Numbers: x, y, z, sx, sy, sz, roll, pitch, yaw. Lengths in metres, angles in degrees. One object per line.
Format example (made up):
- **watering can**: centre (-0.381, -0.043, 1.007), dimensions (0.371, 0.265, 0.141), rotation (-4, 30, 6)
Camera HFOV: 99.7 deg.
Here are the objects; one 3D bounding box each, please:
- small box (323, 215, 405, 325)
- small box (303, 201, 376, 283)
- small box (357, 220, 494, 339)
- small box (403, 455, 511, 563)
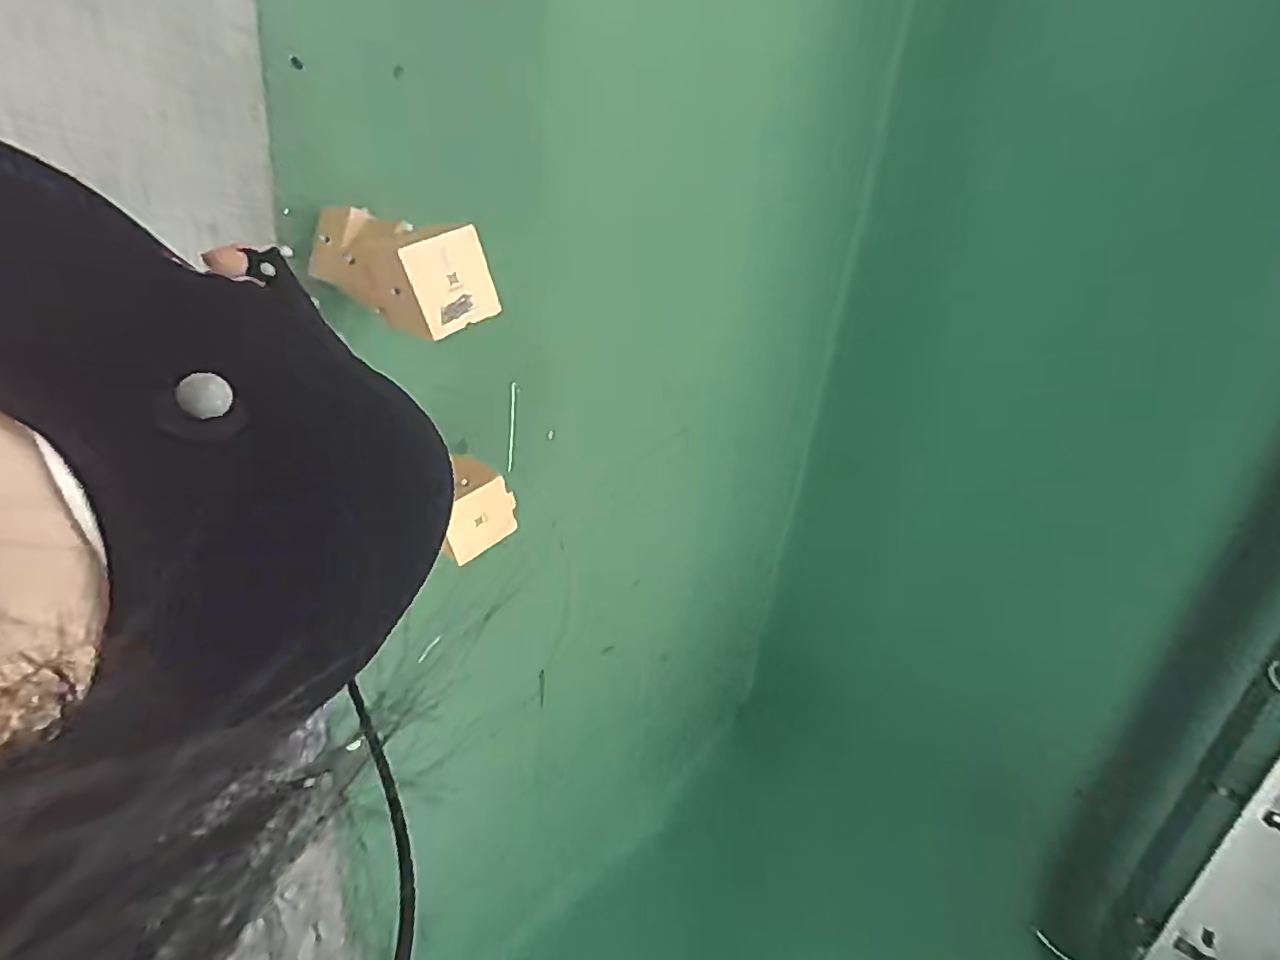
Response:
- **small box**: centre (-0.550, -0.451, 1.184), dimensions (0.168, 0.176, 0.179), rotation (-58, 143, -9)
- **small box**: centre (-0.661, -0.534, 1.274), dimensions (0.179, 0.176, 0.168), rotation (9, 103, -53)
- **small box**: centre (-0.427, -0.407, 1.083), dimensions (0.168, 0.176, 0.179), rotation (-38, 134, -32)
- **small box**: centre (-0.447, 0.063, 1.310), dimensions (0.179, 0.176, 0.168), rotation (-35, 134, -35)
